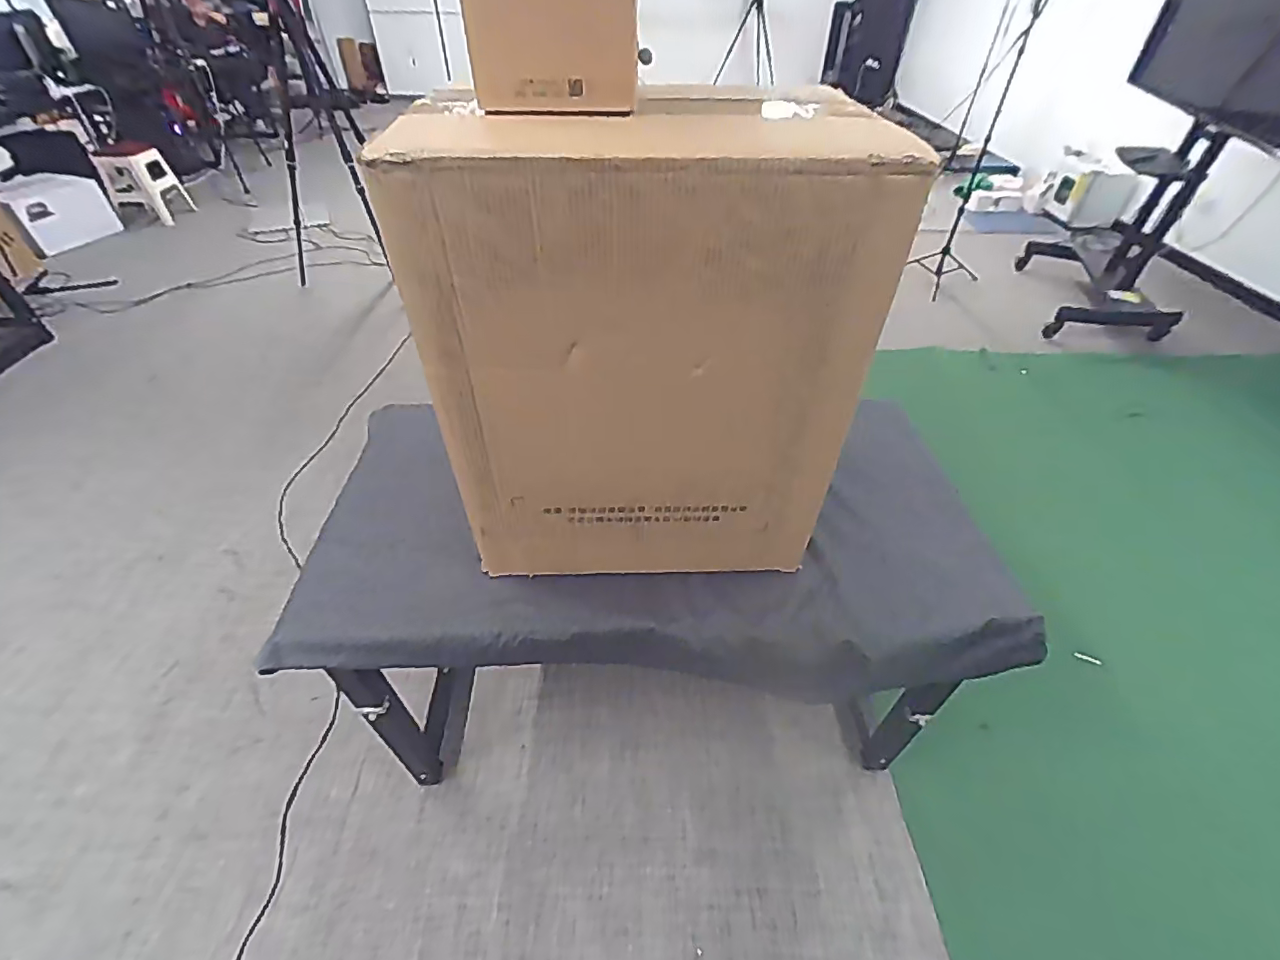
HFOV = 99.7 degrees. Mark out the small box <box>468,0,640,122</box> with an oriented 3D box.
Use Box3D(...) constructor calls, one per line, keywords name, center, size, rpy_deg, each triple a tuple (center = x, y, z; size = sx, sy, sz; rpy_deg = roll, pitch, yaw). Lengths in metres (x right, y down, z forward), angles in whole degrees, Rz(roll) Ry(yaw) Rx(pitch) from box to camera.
Box3D(name="small box", center=(-0.085, -0.498, 0.577), size=(0.168, 0.176, 0.179), rpy_deg=(0, 42, 0))
